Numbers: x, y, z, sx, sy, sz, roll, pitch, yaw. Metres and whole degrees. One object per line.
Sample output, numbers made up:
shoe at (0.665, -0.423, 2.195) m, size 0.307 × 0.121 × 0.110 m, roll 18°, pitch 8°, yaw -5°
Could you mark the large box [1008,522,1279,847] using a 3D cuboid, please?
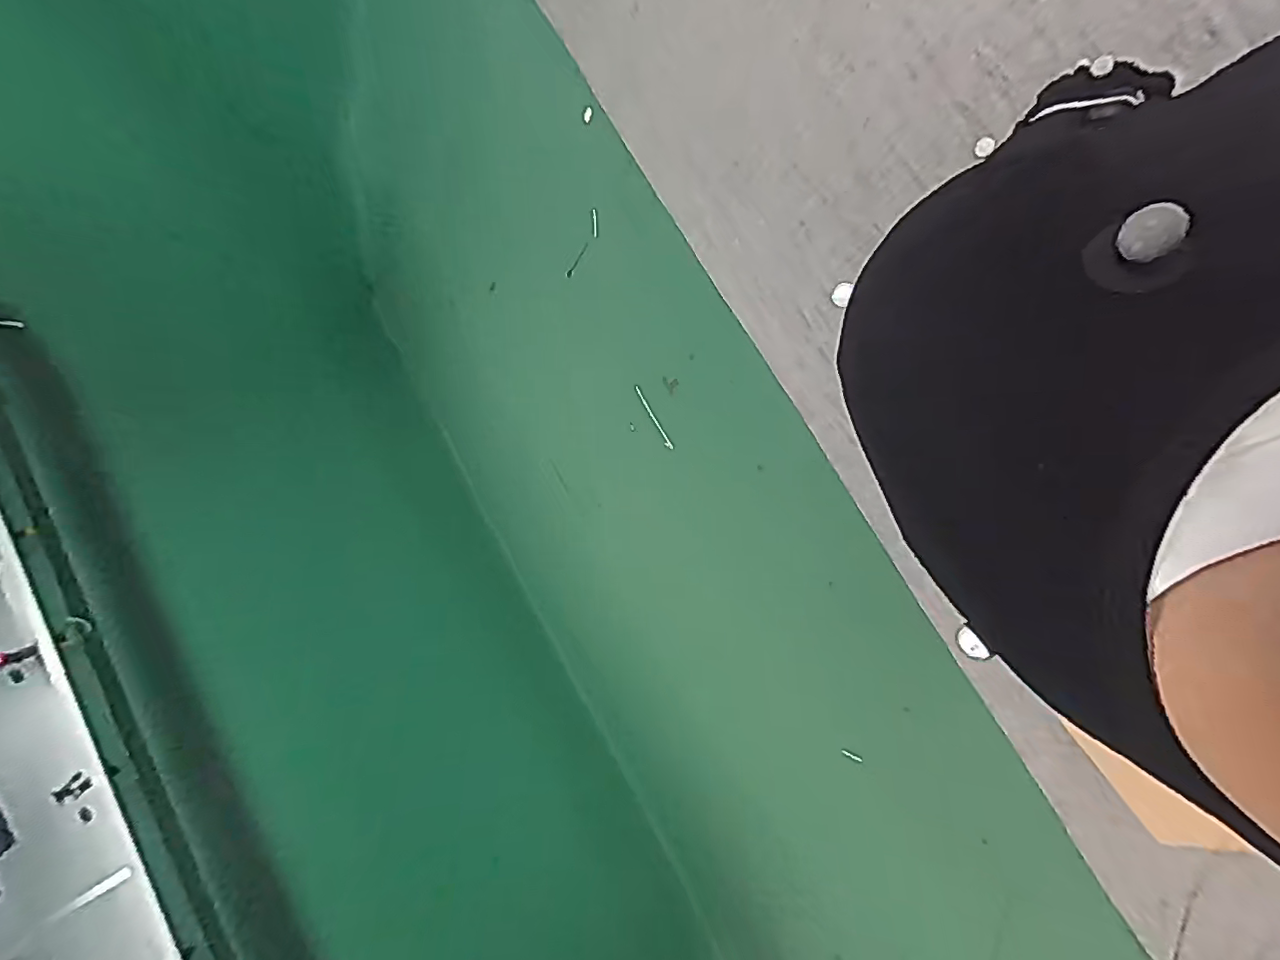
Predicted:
large box at (0.980, 0.352, 0.964) m, size 0.408 × 0.320 × 0.320 m, roll 54°, pitch 144°, yaw 12°
